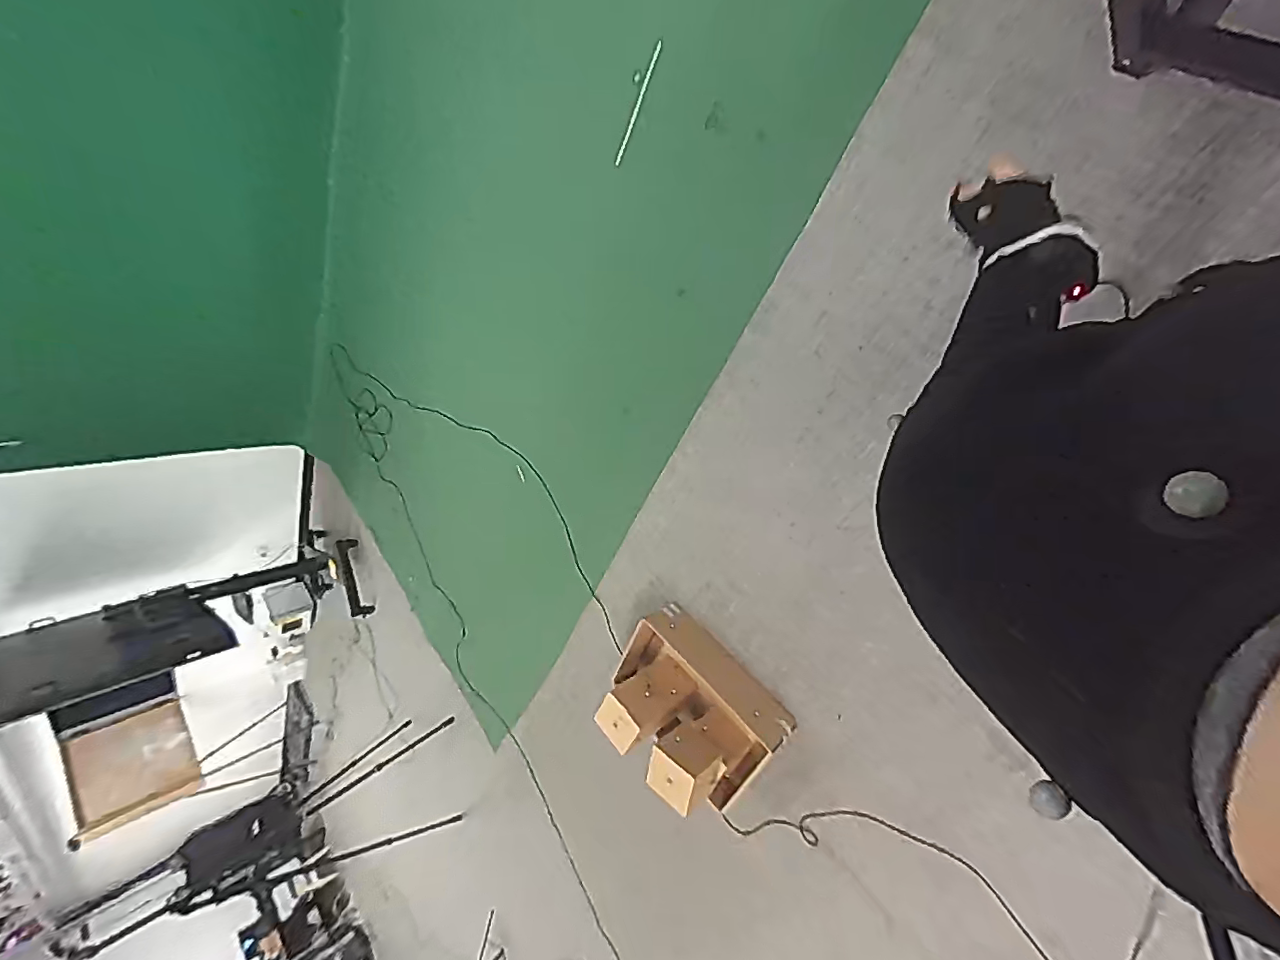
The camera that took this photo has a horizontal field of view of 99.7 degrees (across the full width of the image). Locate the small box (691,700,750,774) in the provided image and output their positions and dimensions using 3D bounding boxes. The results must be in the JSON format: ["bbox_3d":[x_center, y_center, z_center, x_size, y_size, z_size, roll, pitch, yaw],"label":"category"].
[{"bbox_3d":[0.261,0.929,1.933,0.179,0.176,0.168,42,124,29],"label":"small box"}]

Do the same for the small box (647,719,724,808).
[{"bbox_3d":[0.152,0.936,1.811,0.179,0.176,0.168,25,115,37],"label":"small box"}]

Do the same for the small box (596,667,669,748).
[{"bbox_3d":[-0.024,0.811,1.940,0.168,0.176,0.179,43,125,27],"label":"small box"}]
